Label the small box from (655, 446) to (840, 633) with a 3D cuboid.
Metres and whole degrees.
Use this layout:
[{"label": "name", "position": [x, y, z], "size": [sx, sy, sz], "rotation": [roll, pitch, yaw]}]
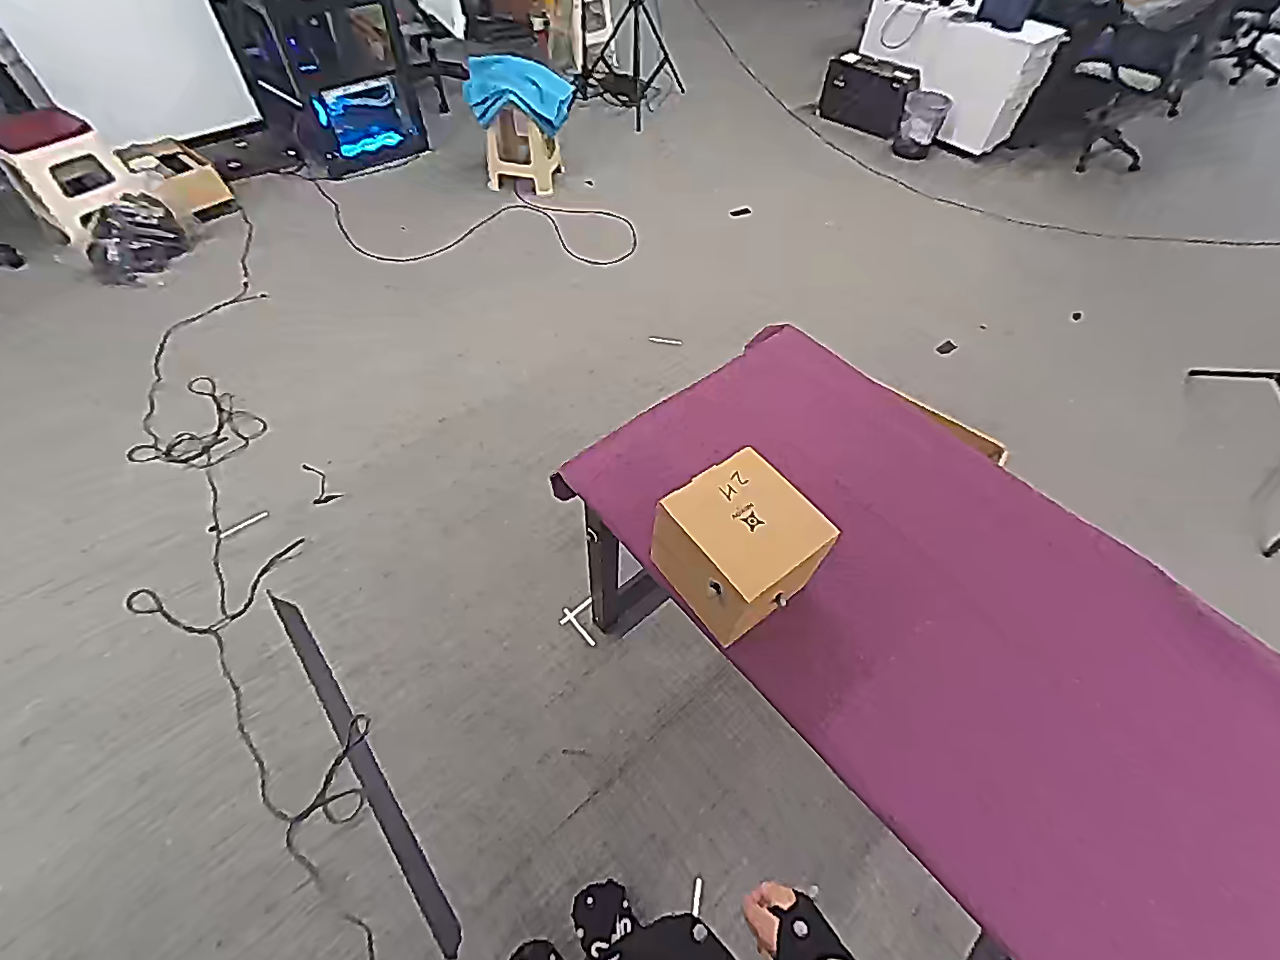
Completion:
[{"label": "small box", "position": [0.137, 0.092, 0.759], "size": [0.168, 0.176, 0.179], "rotation": [-30, 61, -22]}]
